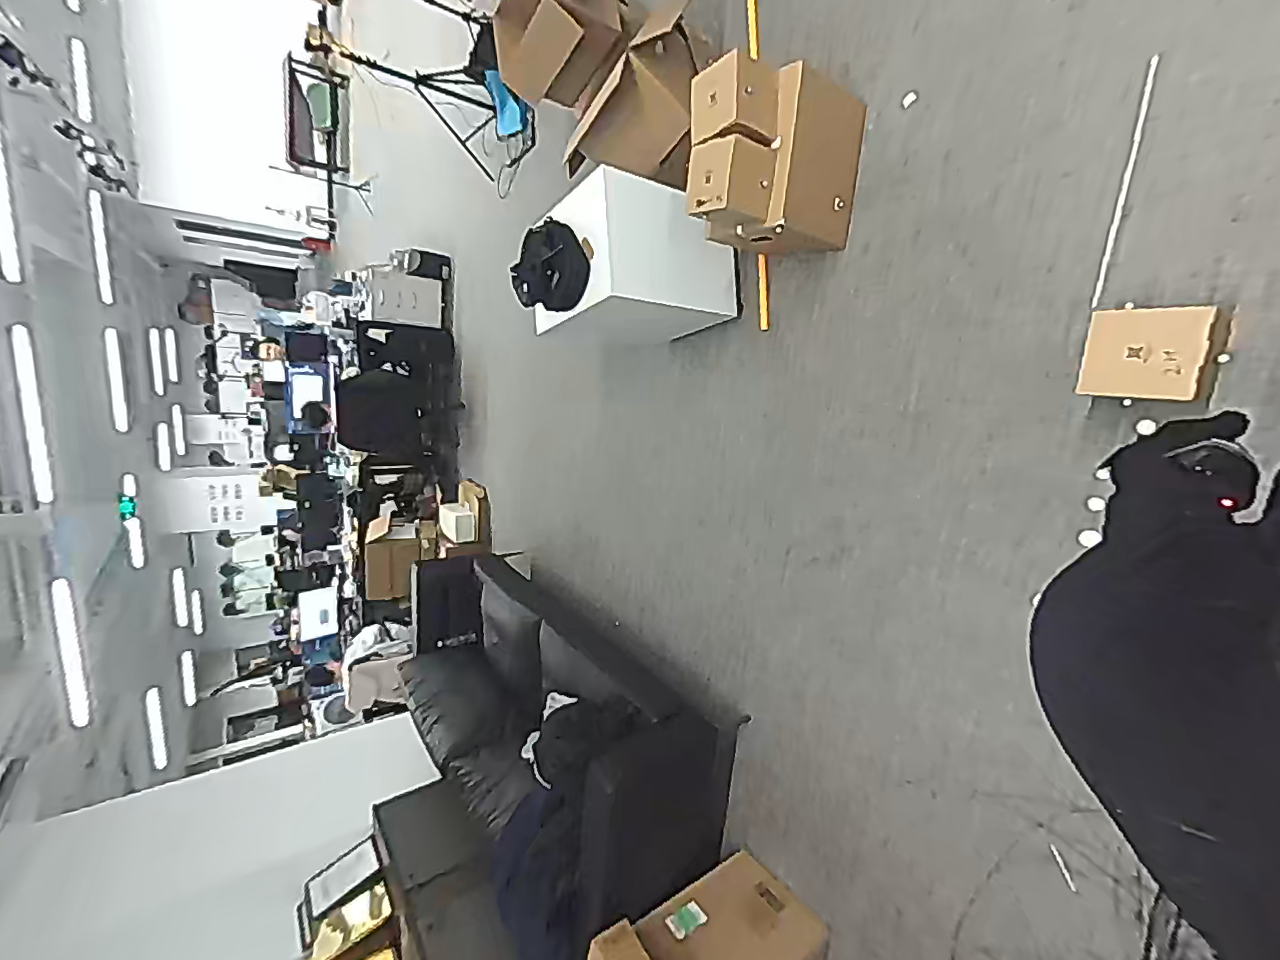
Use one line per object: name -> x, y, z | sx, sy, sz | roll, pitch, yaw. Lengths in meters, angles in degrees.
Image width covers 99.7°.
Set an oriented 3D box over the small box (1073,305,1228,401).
small box -> 1.000, -0.245, 1.063 | 0.179, 0.176, 0.168 | 18, 108, 51
